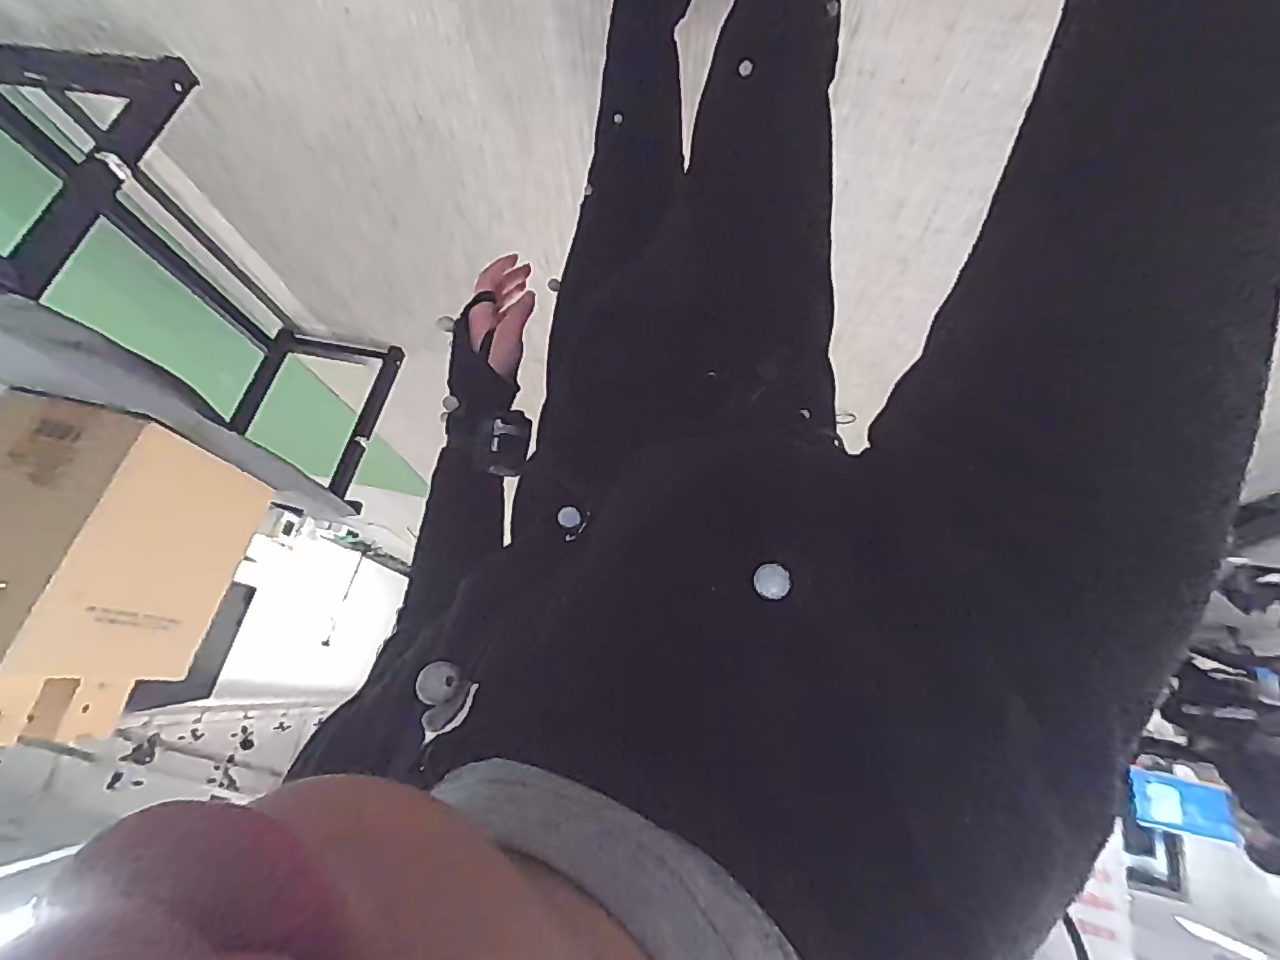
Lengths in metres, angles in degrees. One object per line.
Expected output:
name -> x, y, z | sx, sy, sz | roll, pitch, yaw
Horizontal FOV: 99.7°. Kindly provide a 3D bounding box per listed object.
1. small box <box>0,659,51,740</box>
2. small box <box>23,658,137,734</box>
small box -> -1.548, 0.500, 1.247 | 0.168, 0.176, 0.179 | 8, 161, 1
small box -> -1.550, 0.588, 1.488 | 0.179, 0.176, 0.168 | 9, 158, 3
